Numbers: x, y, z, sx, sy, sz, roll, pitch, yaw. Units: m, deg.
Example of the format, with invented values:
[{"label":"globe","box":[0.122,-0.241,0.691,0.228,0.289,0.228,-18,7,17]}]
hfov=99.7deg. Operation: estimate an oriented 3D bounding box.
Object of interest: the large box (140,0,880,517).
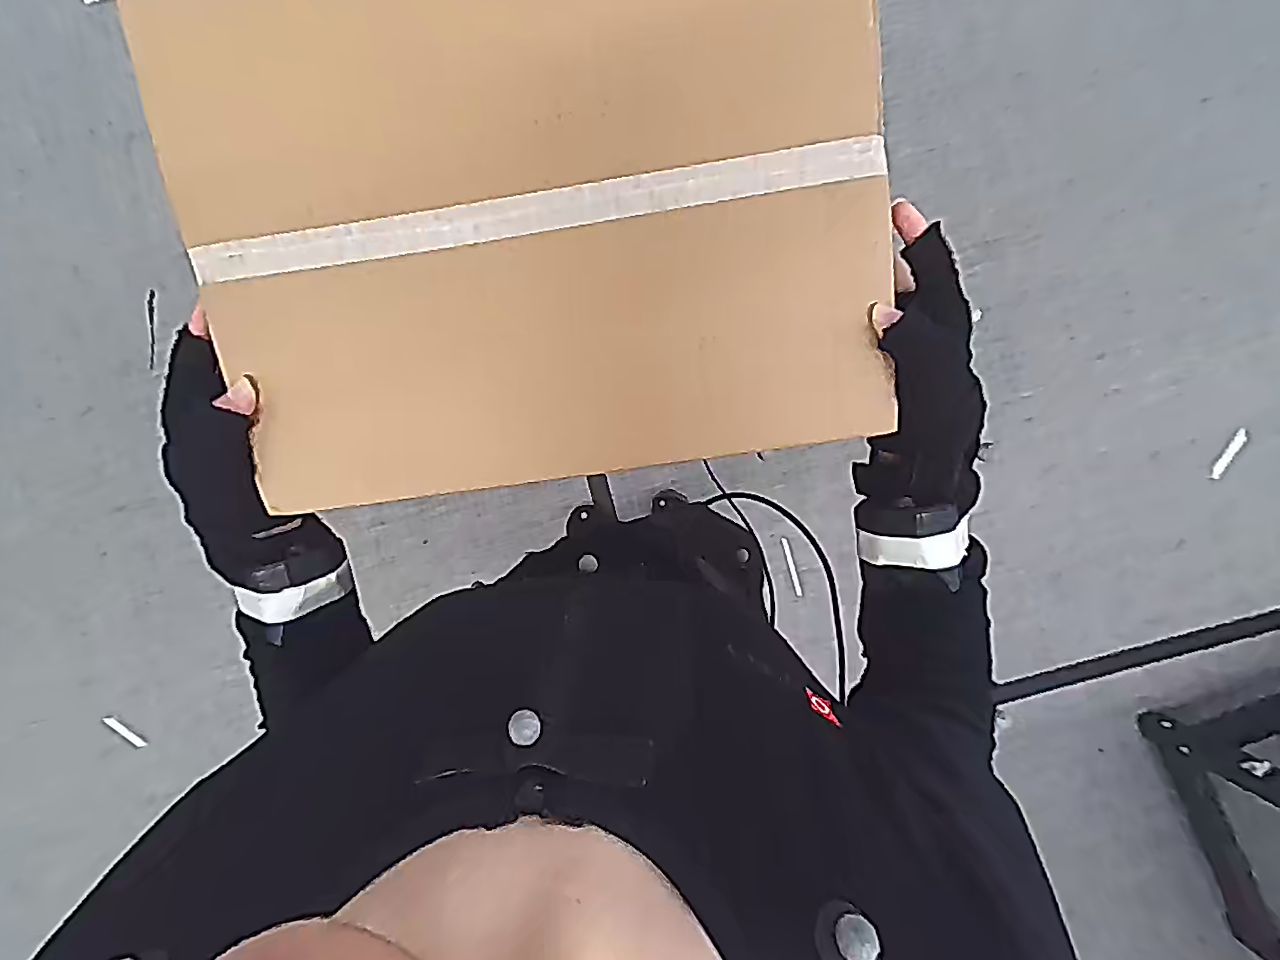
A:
[{"label":"large box","box":[-0.060,-0.183,0.469,0.408,0.320,0.320,-8,101,3]}]
